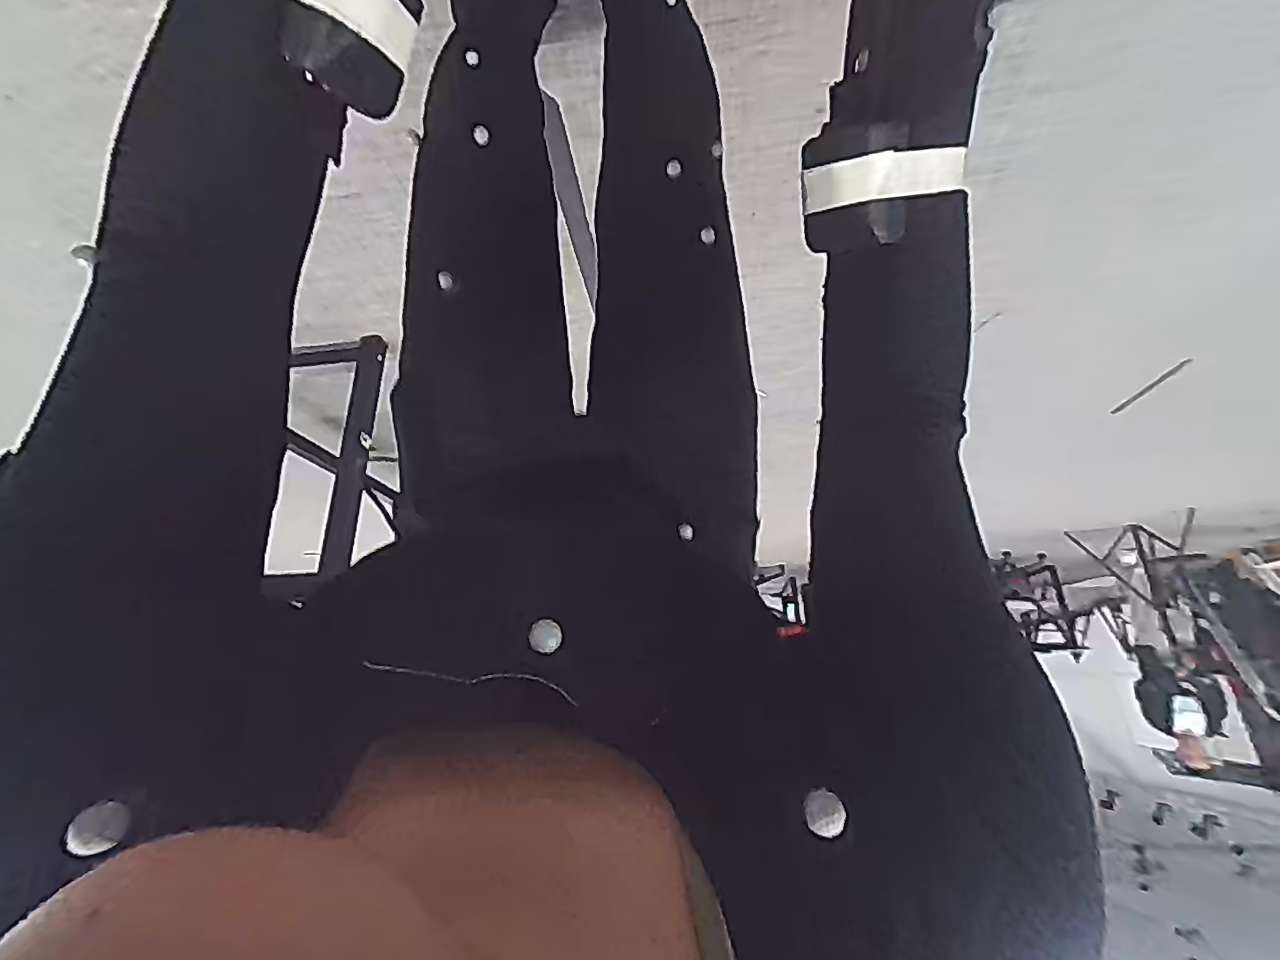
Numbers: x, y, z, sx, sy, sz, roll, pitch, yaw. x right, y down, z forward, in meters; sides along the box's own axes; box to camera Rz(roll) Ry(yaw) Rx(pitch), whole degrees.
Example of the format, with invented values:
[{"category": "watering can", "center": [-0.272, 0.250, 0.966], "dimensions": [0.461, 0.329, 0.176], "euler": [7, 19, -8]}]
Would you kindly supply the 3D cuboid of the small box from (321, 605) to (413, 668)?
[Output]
[{"category": "small box", "center": [-0.805, 0.464, 1.602], "dimensions": [0.179, 0.176, 0.168], "euler": [-3, 160, 8]}]
